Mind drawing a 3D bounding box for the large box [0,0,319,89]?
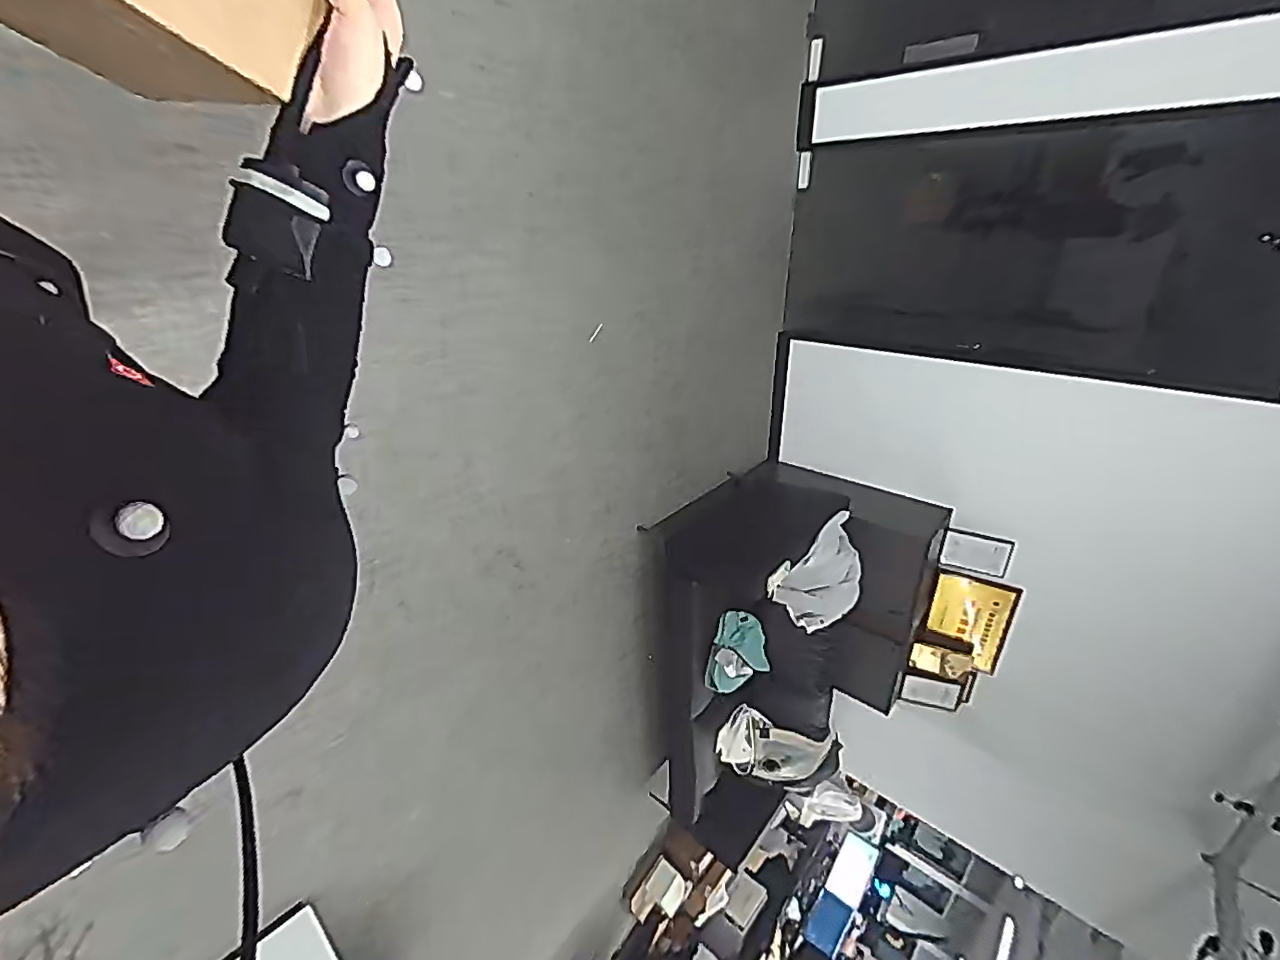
[{"bbox_3d":[-0.400,-0.471,0.250,0.408,0.320,0.320,9,105,-60],"label":"large box"}]
